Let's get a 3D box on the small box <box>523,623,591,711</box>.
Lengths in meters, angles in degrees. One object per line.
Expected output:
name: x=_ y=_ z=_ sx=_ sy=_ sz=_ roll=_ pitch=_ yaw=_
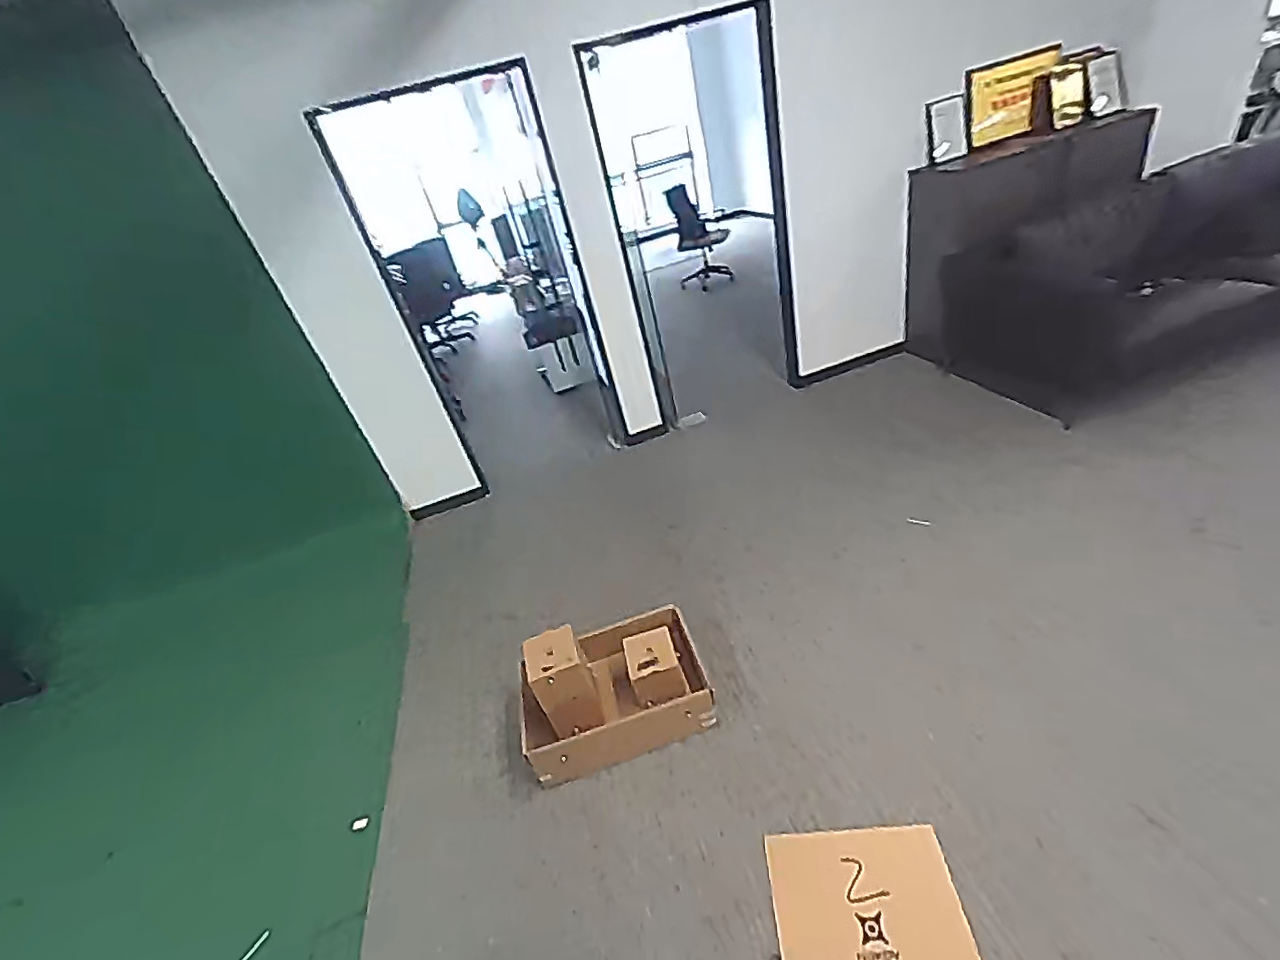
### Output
small box: x=-0.268 y=0.605 z=1.747 sx=0.168 sy=0.176 sz=0.179 roll=-20 pitch=32 yaw=-6
